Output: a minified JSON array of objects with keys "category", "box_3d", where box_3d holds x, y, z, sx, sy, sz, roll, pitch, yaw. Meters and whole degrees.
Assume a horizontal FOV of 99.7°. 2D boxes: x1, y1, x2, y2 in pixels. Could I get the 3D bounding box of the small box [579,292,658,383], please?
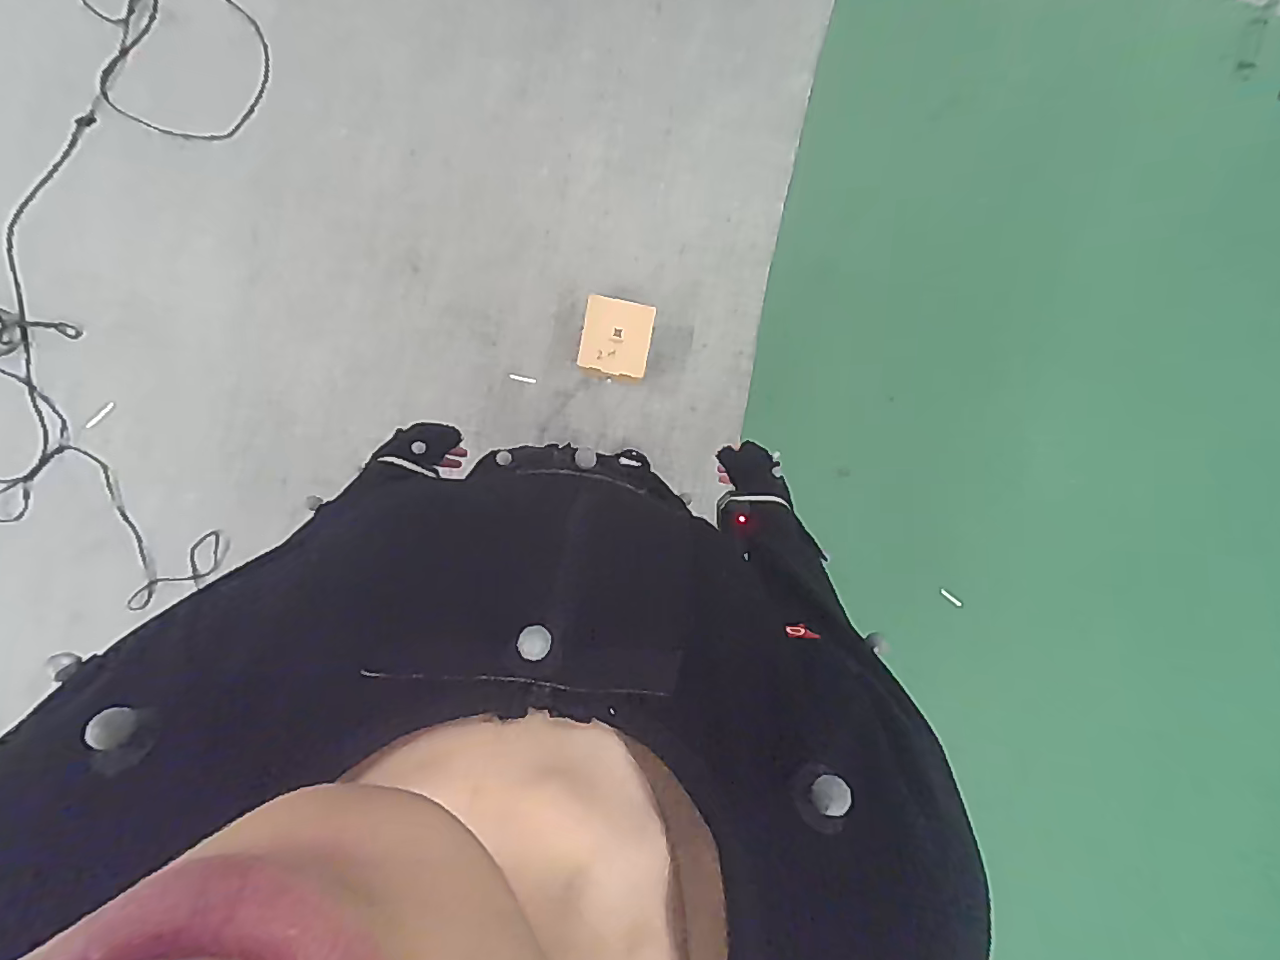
[{"category":"small box","box_3d":[-0.057,-0.356,1.379,0.168,0.176,0.179,11,95,-3]}]
